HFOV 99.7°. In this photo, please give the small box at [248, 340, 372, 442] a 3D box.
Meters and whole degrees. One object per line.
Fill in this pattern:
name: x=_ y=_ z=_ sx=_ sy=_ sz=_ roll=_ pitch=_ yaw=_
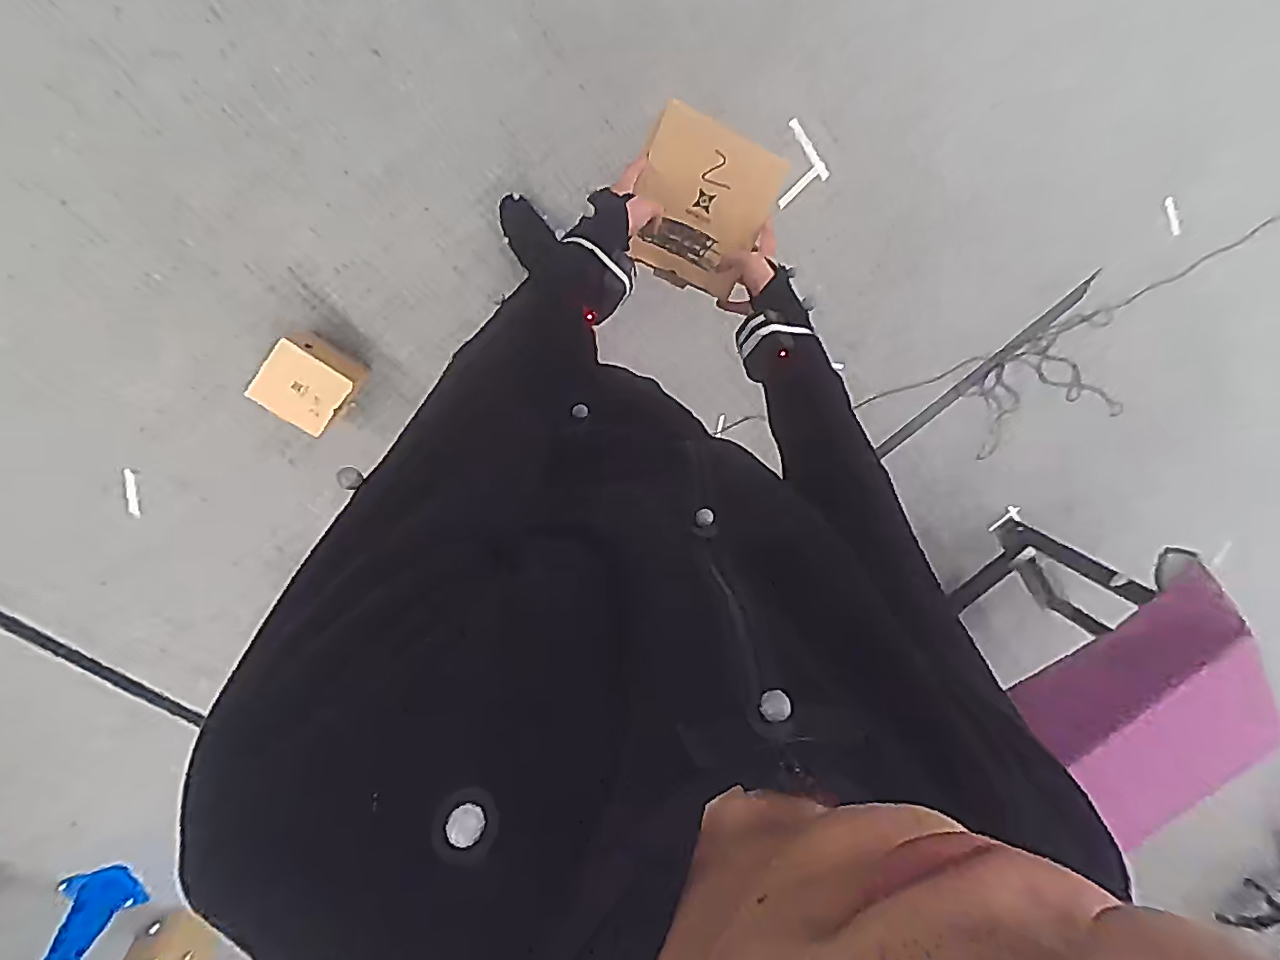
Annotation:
small box: x=-0.791 y=-0.223 z=1.314 sx=0.179 sy=0.176 sz=0.168 roll=36 pitch=99 yaw=-23
